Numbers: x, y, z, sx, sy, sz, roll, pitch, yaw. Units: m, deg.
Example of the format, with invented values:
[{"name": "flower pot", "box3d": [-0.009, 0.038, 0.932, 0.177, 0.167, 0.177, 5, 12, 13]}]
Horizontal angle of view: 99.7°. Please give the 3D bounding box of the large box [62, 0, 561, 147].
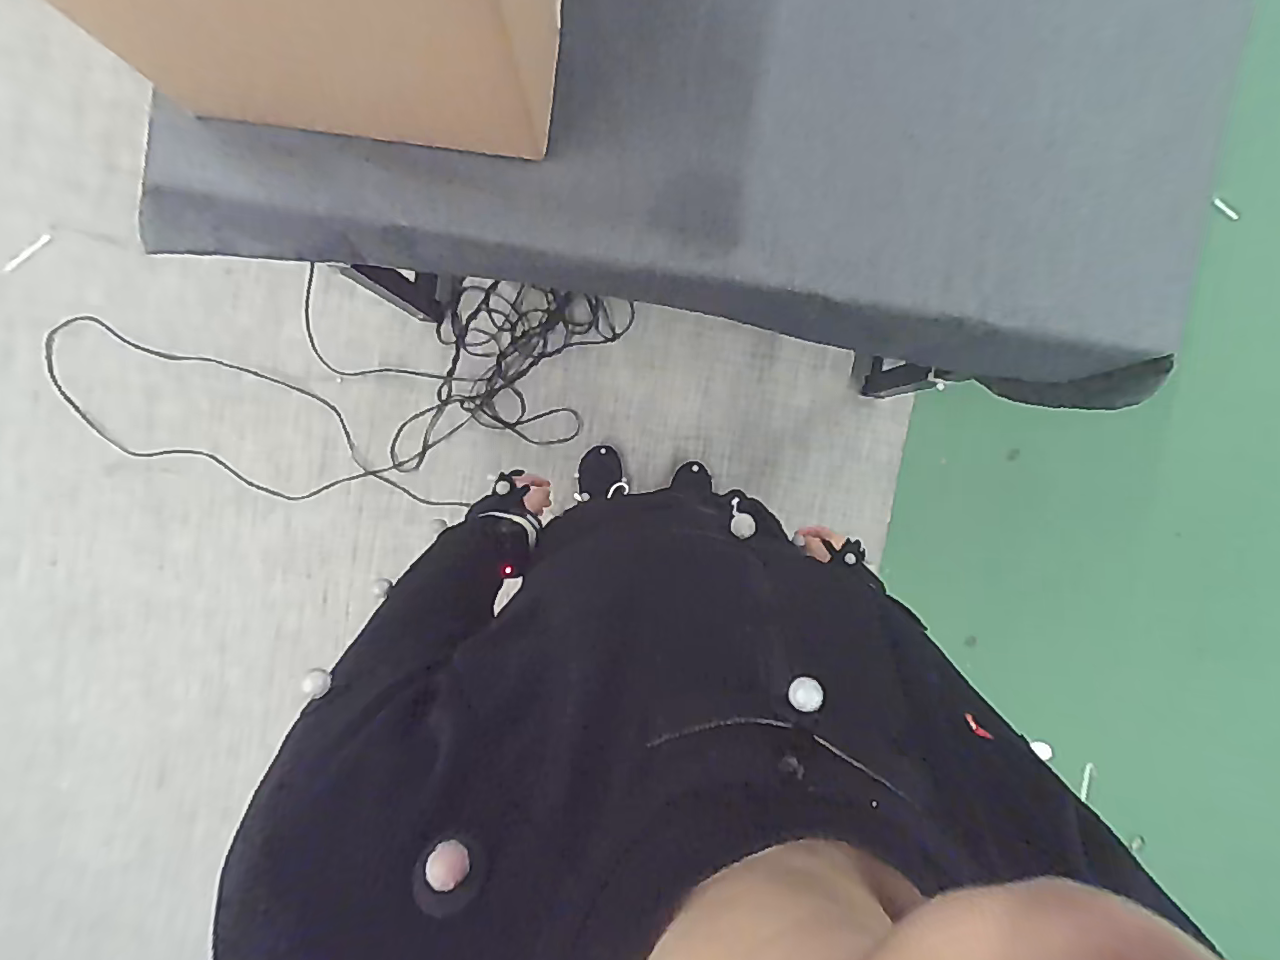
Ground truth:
[{"name": "large box", "box3d": [-0.280, -0.535, 0.450, 0.408, 0.320, 0.320, 6, 93, -3]}]
